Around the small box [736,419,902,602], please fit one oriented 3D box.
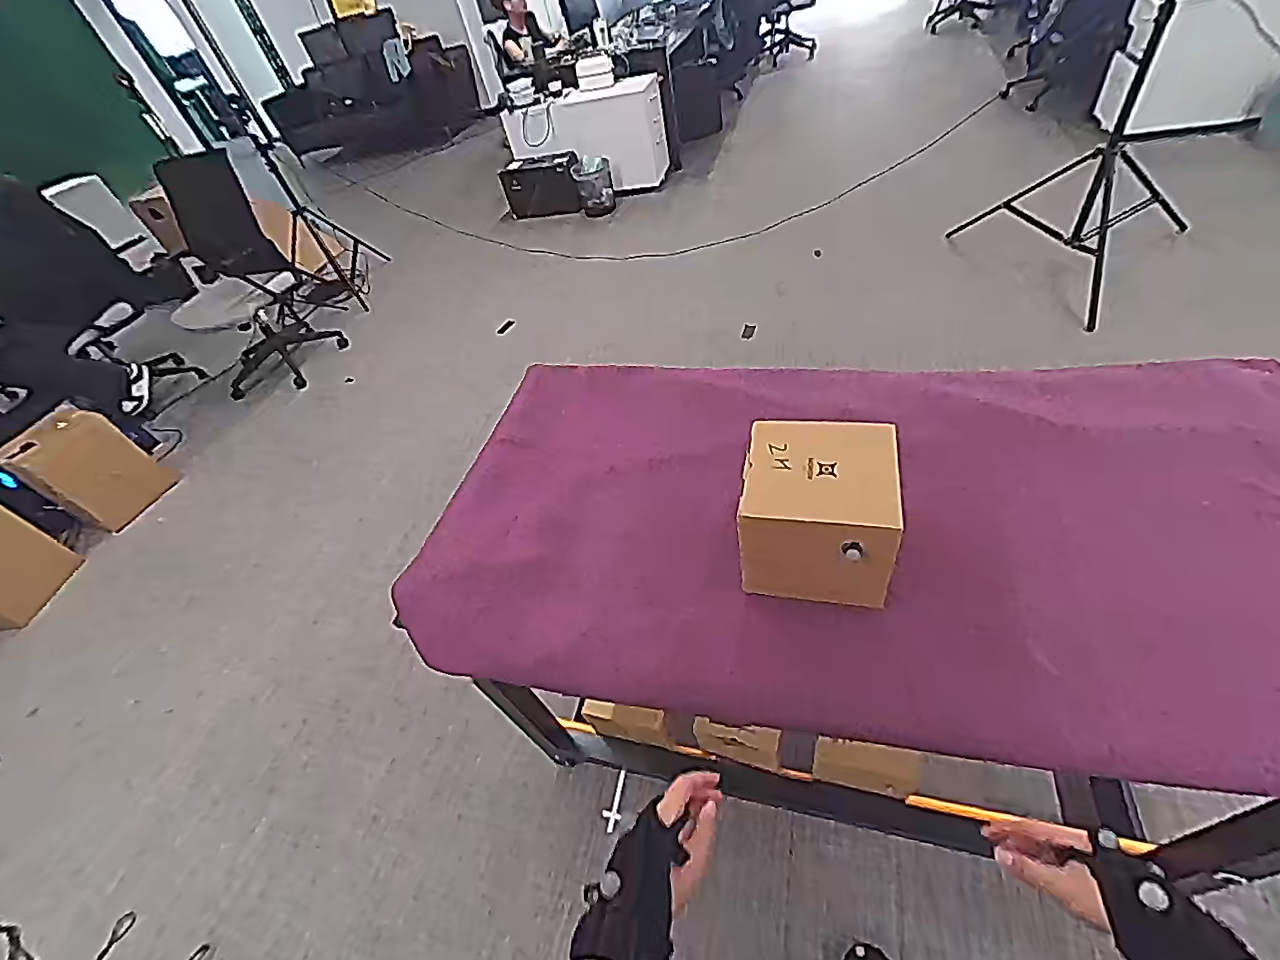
[{"bbox_3d":[0.226,0.040,0.699,0.179,0.176,0.168,4,47,18],"label":"small box"}]
